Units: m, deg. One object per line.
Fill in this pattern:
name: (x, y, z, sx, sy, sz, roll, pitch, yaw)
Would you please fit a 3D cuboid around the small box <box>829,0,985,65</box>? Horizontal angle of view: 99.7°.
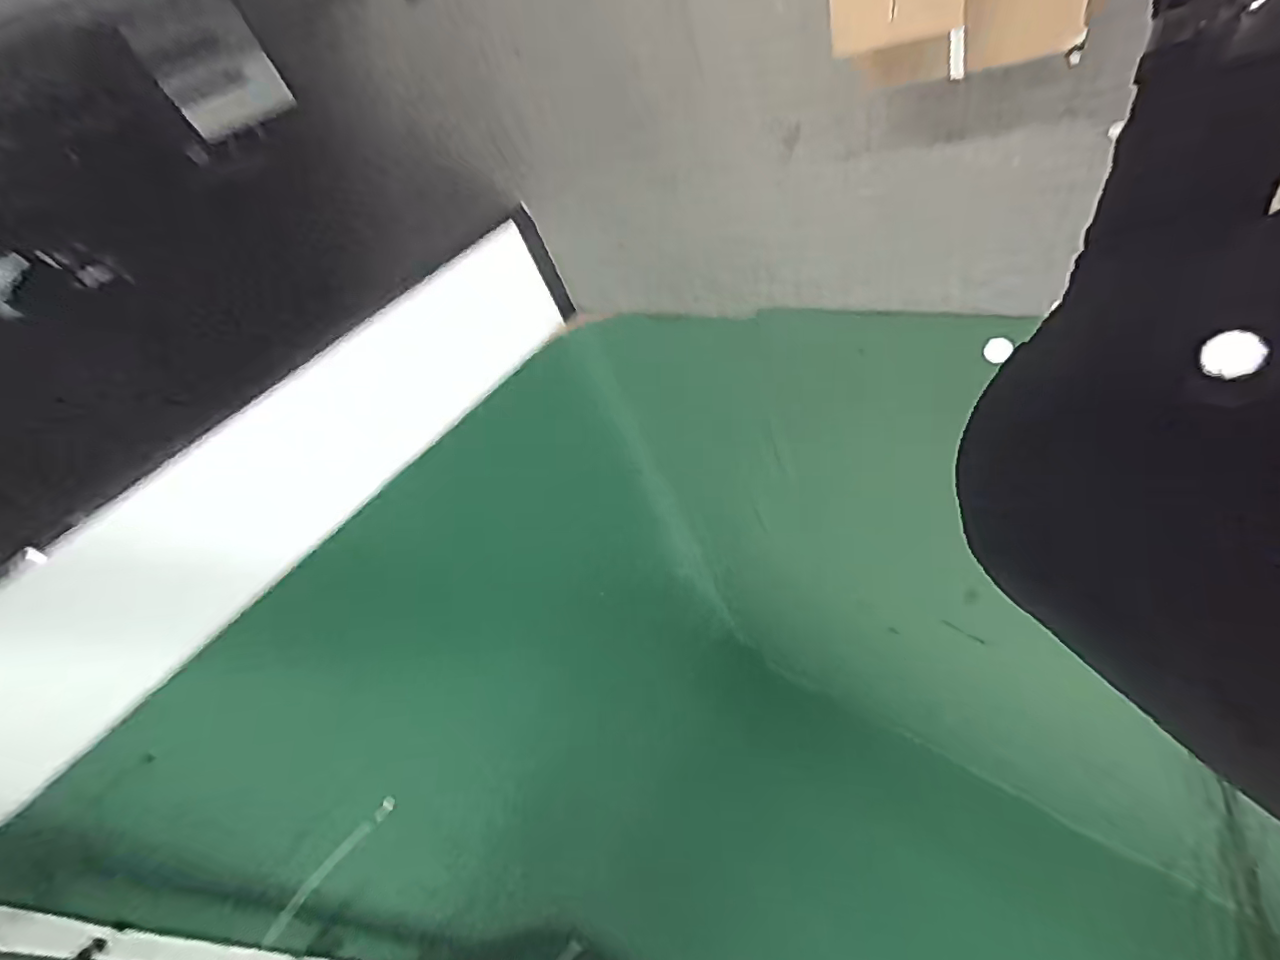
small box: (0.358, -0.686, 0.709, 0.168, 0.176, 0.179, 17, 146, 32)
